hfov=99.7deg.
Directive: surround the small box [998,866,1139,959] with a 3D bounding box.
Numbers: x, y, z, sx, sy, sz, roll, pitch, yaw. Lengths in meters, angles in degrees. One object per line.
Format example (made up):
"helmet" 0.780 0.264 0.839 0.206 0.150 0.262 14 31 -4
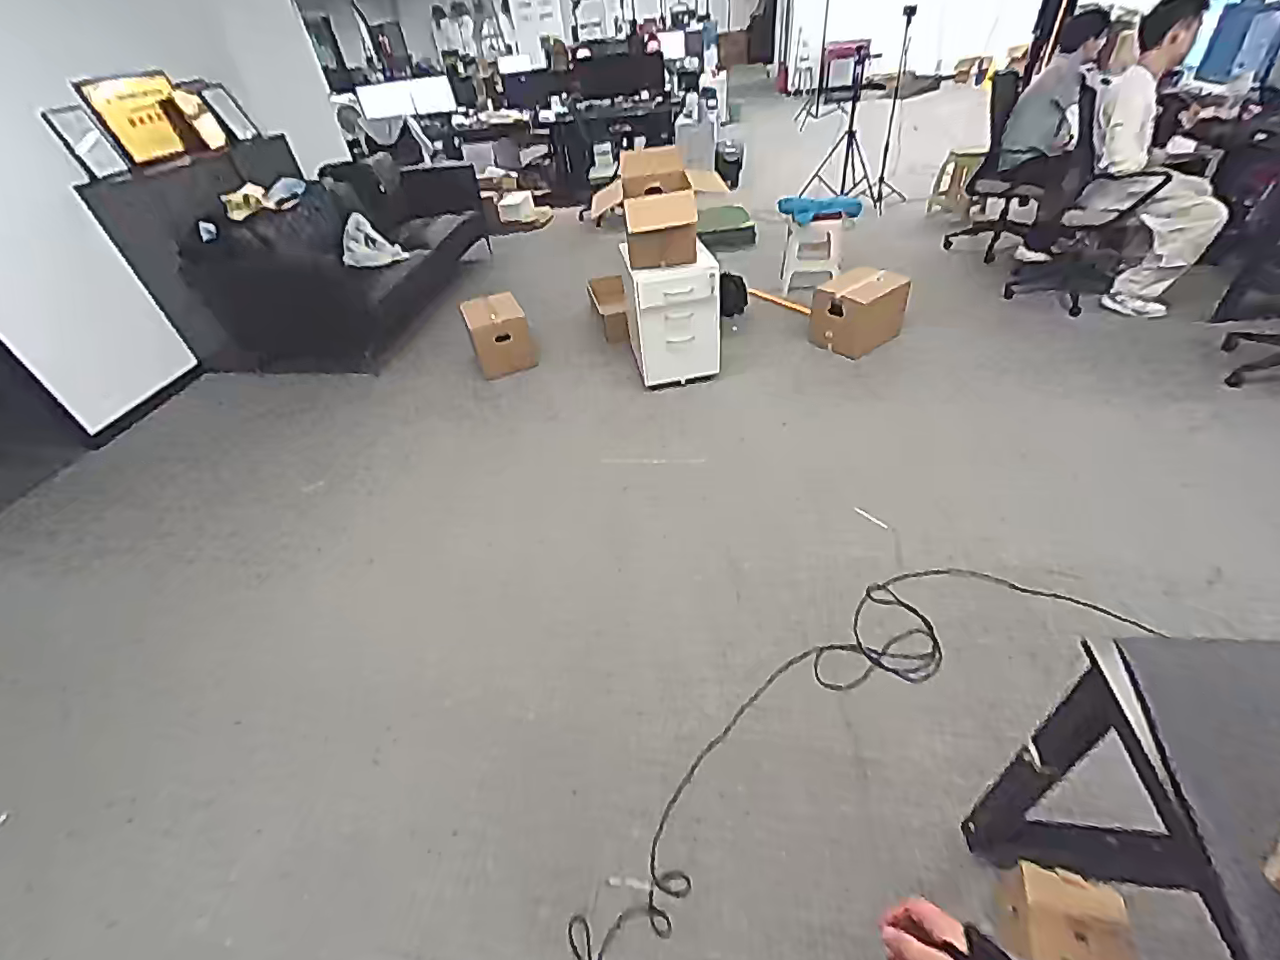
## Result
"small box" 0.800 0.882 1.019 0.168 0.176 0.179 9 42 19
